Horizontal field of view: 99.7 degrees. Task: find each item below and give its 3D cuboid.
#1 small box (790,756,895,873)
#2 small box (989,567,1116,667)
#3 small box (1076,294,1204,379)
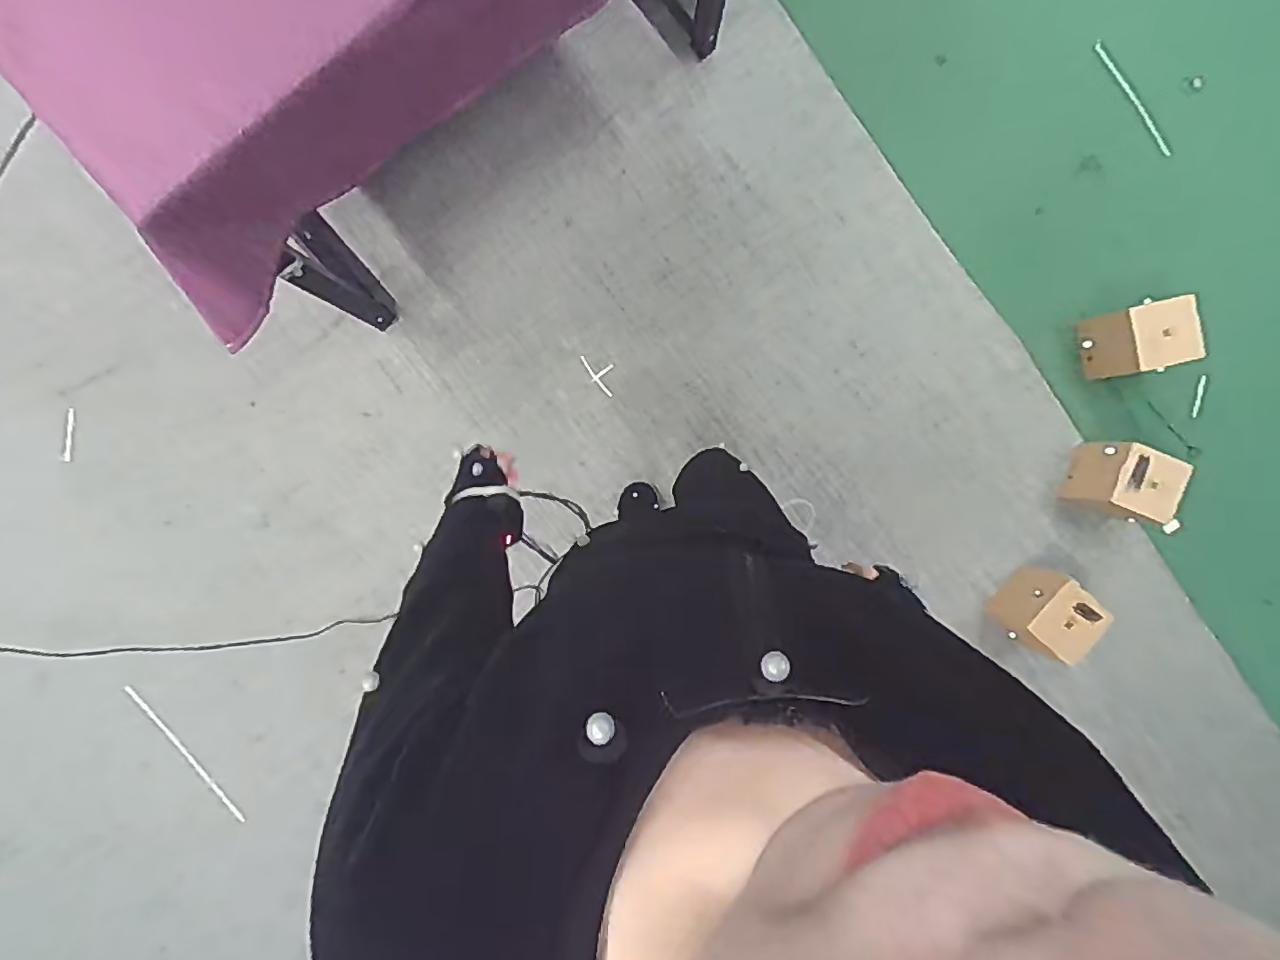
[{"bbox_3d":[0.536,0.886,1.453,0.179,0.176,0.168,-31,92,-1],"label":"small box"},{"bbox_3d":[1.096,0.358,1.452,0.168,0.176,0.179,41,91,-3],"label":"small box"},{"bbox_3d":[1.320,-0.376,1.437,0.179,0.176,0.168,-13,92,-1],"label":"small box"}]
